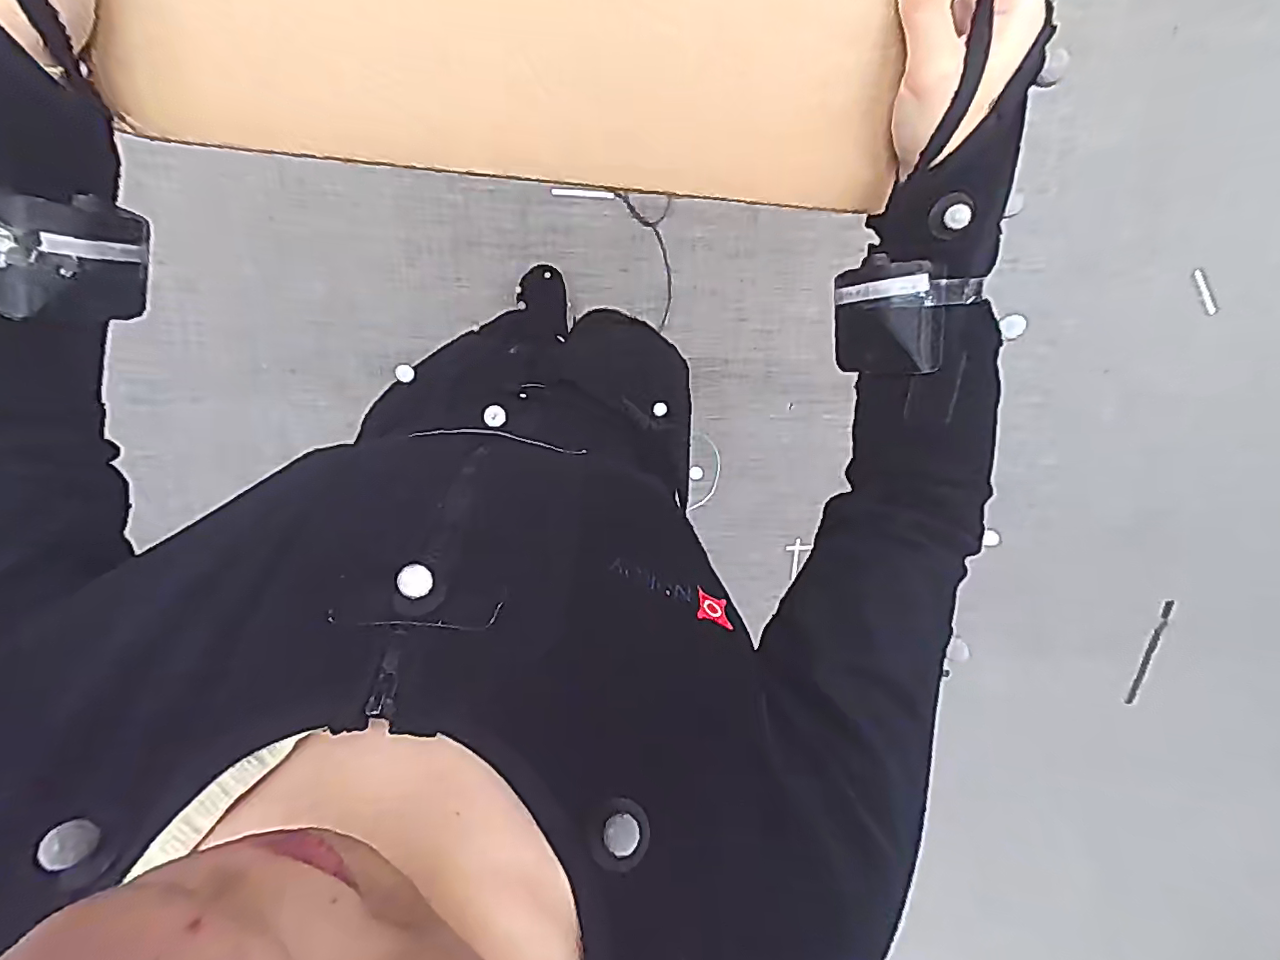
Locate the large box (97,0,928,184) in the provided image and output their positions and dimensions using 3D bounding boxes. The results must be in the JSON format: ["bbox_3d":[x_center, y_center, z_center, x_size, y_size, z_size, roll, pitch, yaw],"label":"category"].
[{"bbox_3d":[-0.057,-0.386,0.340,0.408,0.320,0.320,2,123,-7],"label":"large box"}]
